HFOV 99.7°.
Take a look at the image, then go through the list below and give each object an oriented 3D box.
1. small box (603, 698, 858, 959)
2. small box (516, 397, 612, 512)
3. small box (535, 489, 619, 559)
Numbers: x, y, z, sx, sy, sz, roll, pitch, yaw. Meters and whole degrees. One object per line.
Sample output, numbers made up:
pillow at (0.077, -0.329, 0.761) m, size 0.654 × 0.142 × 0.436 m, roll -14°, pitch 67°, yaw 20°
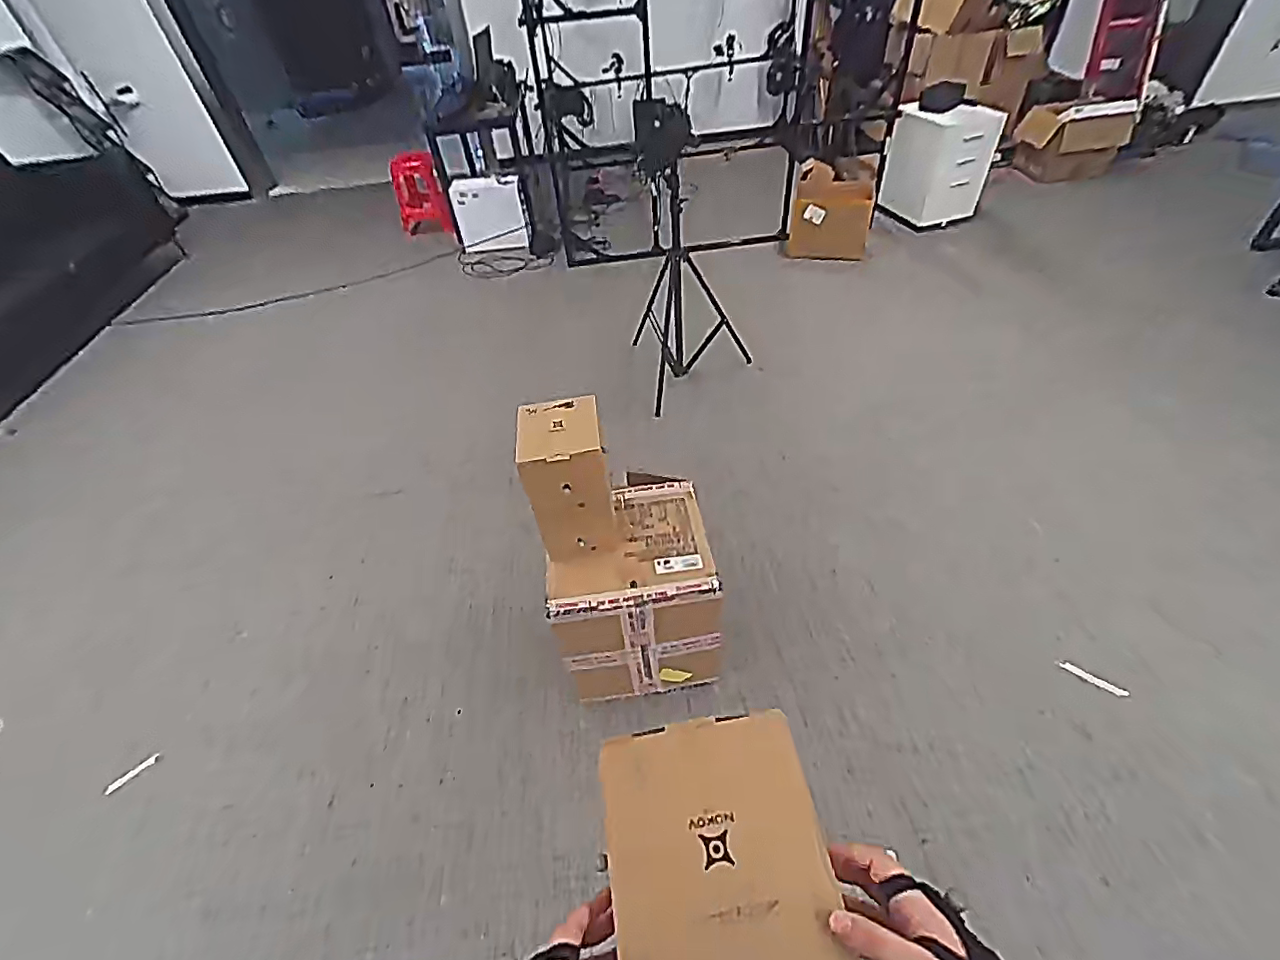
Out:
small box at (0.062, 0.320, 0.484) m, size 0.168 × 0.176 × 0.179 m, roll -9°, pitch 53°, yaw -4°
small box at (-0.157, -0.047, 1.141) m, size 0.168 × 0.176 × 0.179 m, roll -9°, pitch 48°, yaw 0°
small box at (-0.146, 0.058, 1.267) m, size 0.168 × 0.176 × 0.179 m, roll -11°, pitch 48°, yaw -1°
